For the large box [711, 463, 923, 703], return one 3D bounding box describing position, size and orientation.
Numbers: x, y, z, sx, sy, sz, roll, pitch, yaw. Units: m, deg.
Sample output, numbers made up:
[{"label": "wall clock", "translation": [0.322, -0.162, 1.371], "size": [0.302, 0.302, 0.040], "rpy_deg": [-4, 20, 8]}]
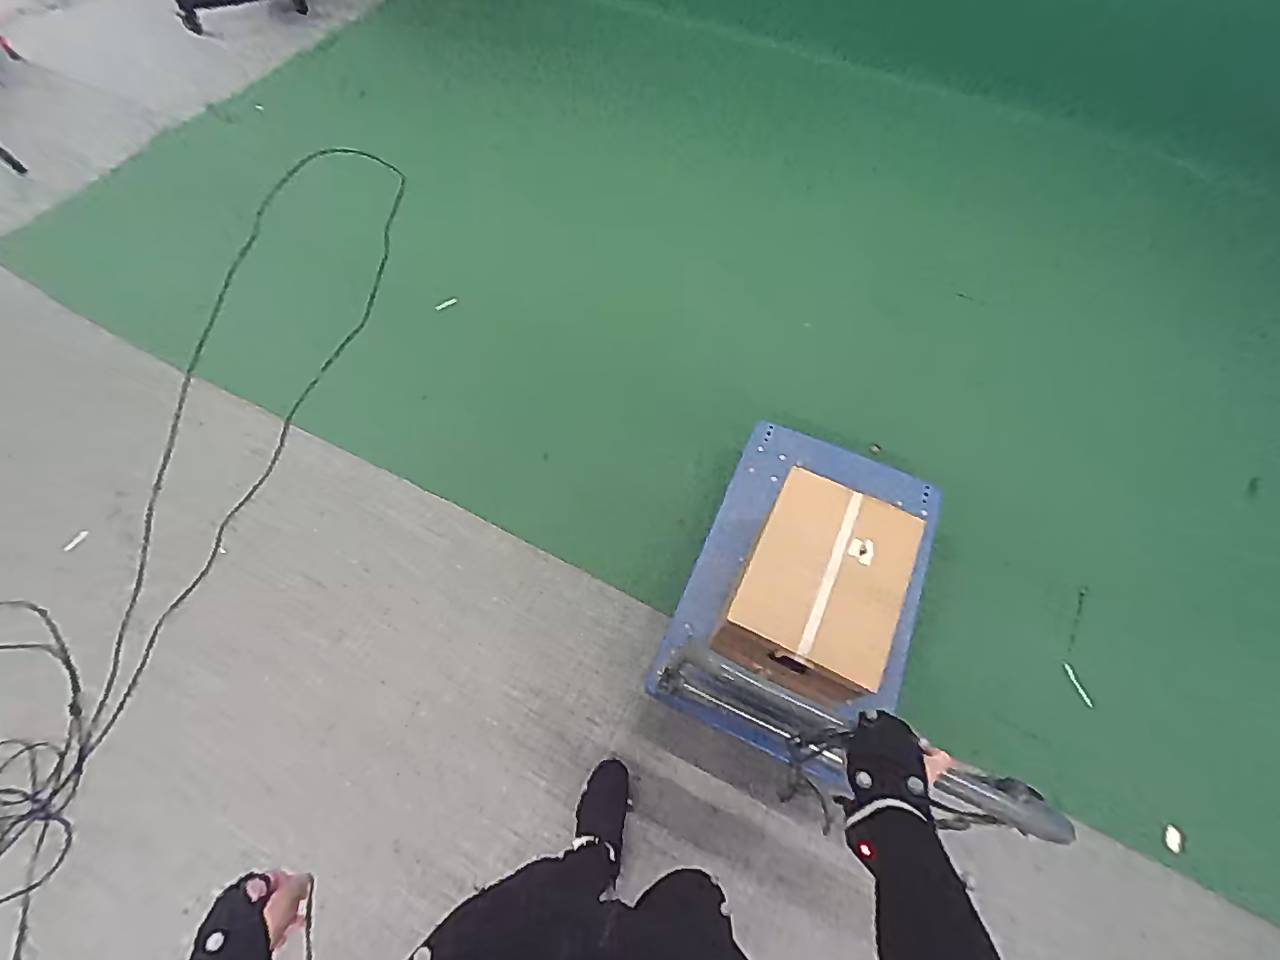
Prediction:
[{"label": "large box", "translation": [0.395, 0.247, 1.258], "size": [0.320, 0.320, 0.408], "rpy_deg": [26, 64, 10]}]
